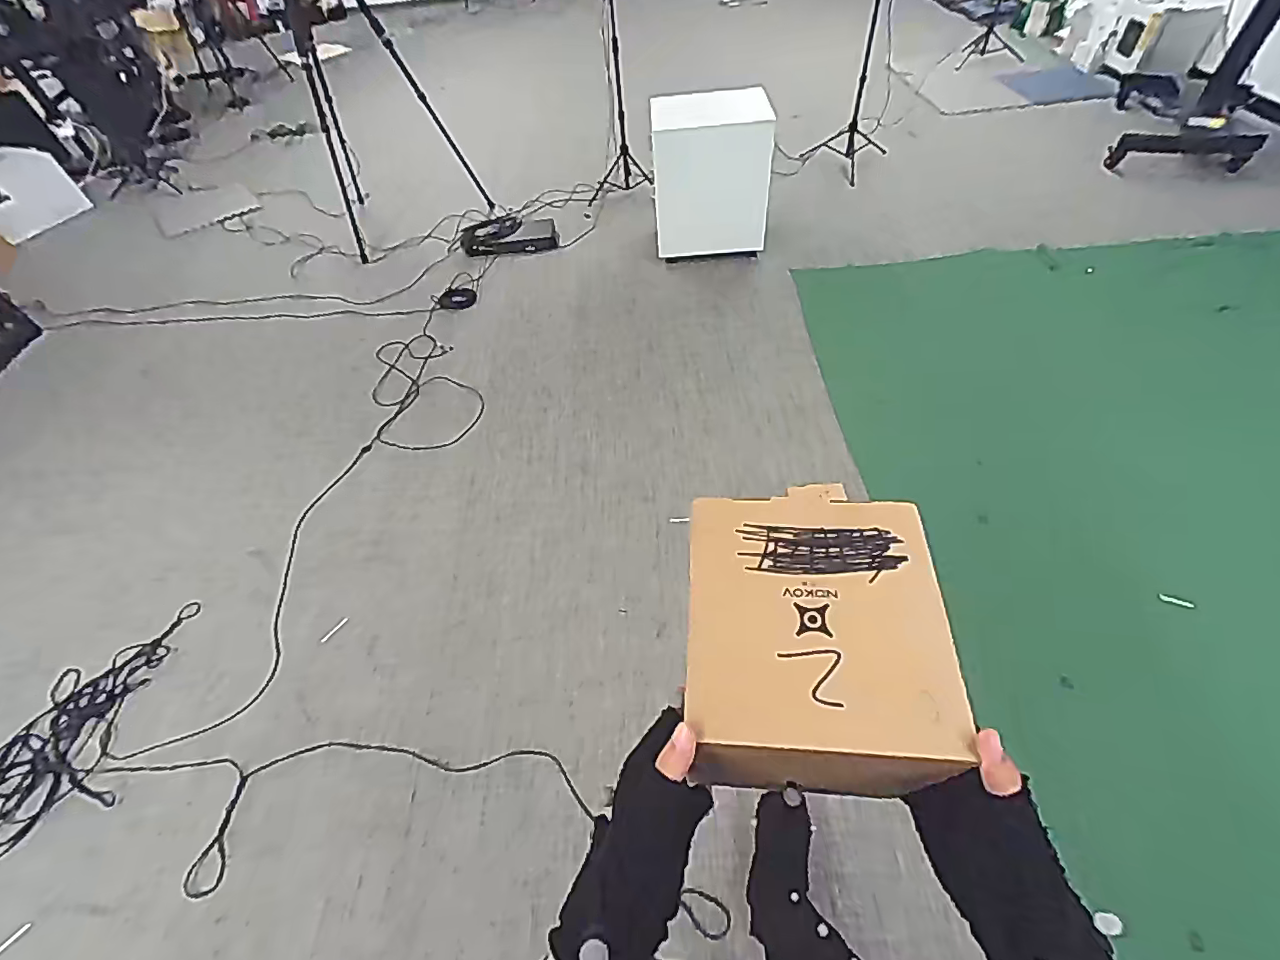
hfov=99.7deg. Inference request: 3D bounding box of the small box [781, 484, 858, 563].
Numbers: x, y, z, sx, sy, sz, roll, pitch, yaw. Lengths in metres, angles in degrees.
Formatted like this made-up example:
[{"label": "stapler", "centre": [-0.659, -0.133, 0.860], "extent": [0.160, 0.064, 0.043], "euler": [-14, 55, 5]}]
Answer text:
[{"label": "small box", "centre": [0.523, 0.134, 1.598], "extent": [0.168, 0.176, 0.179], "euler": [-4, 52, 1]}]
